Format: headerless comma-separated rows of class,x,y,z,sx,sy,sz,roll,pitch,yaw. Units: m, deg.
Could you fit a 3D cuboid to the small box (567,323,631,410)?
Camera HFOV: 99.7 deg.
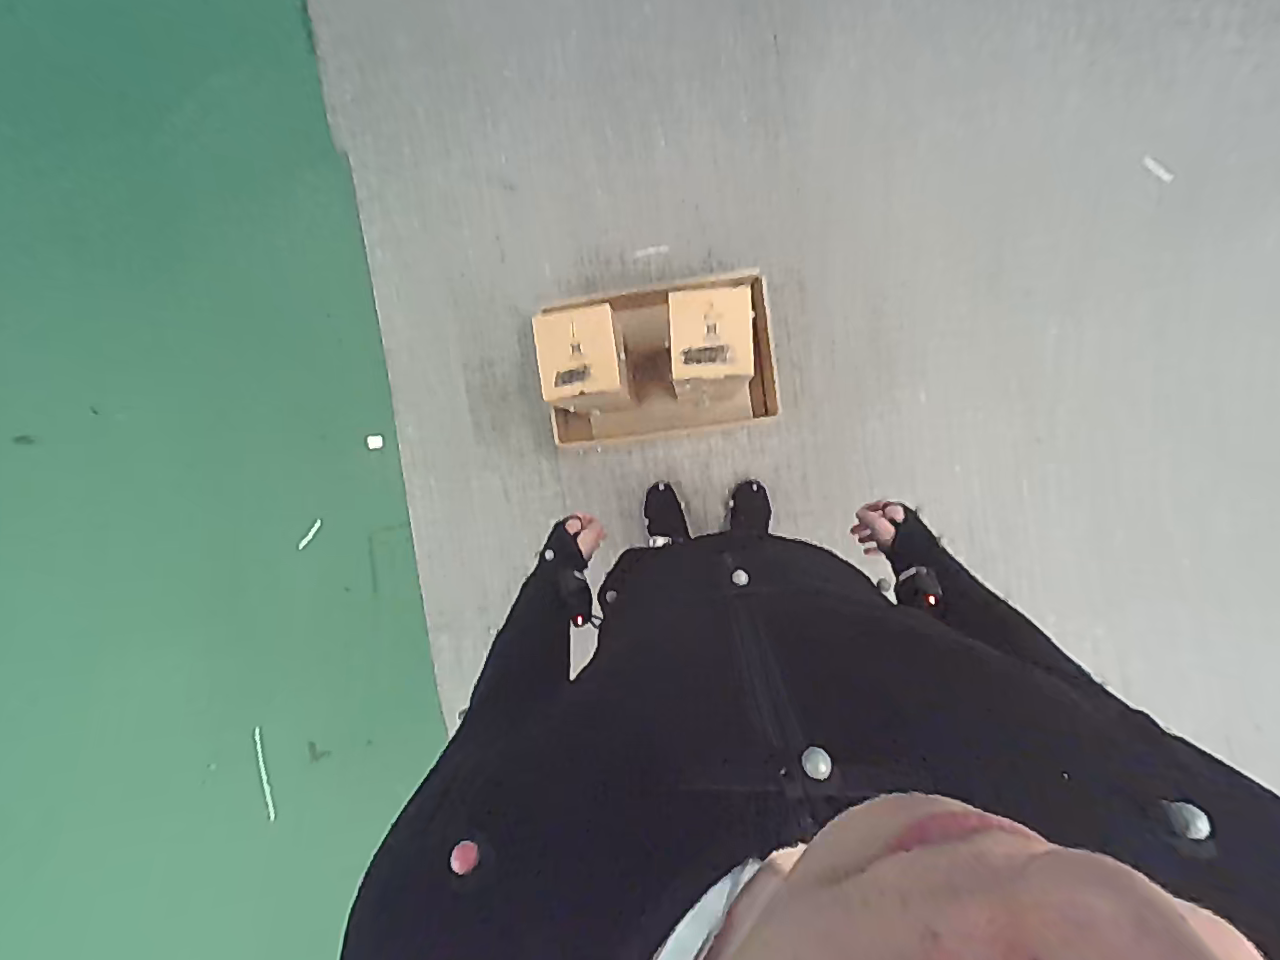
small box,-0.116,-0.276,1.338,0.168,0.176,0.179,-6,92,4

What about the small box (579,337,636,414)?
small box,-0.105,-0.286,1.499,0.168,0.176,0.179,-5,91,5

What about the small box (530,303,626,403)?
small box,-0.127,-0.265,1.173,0.168,0.176,0.179,-8,91,4

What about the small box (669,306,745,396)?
small box,0.158,-0.307,1.317,0.168,0.176,0.179,-6,93,5
